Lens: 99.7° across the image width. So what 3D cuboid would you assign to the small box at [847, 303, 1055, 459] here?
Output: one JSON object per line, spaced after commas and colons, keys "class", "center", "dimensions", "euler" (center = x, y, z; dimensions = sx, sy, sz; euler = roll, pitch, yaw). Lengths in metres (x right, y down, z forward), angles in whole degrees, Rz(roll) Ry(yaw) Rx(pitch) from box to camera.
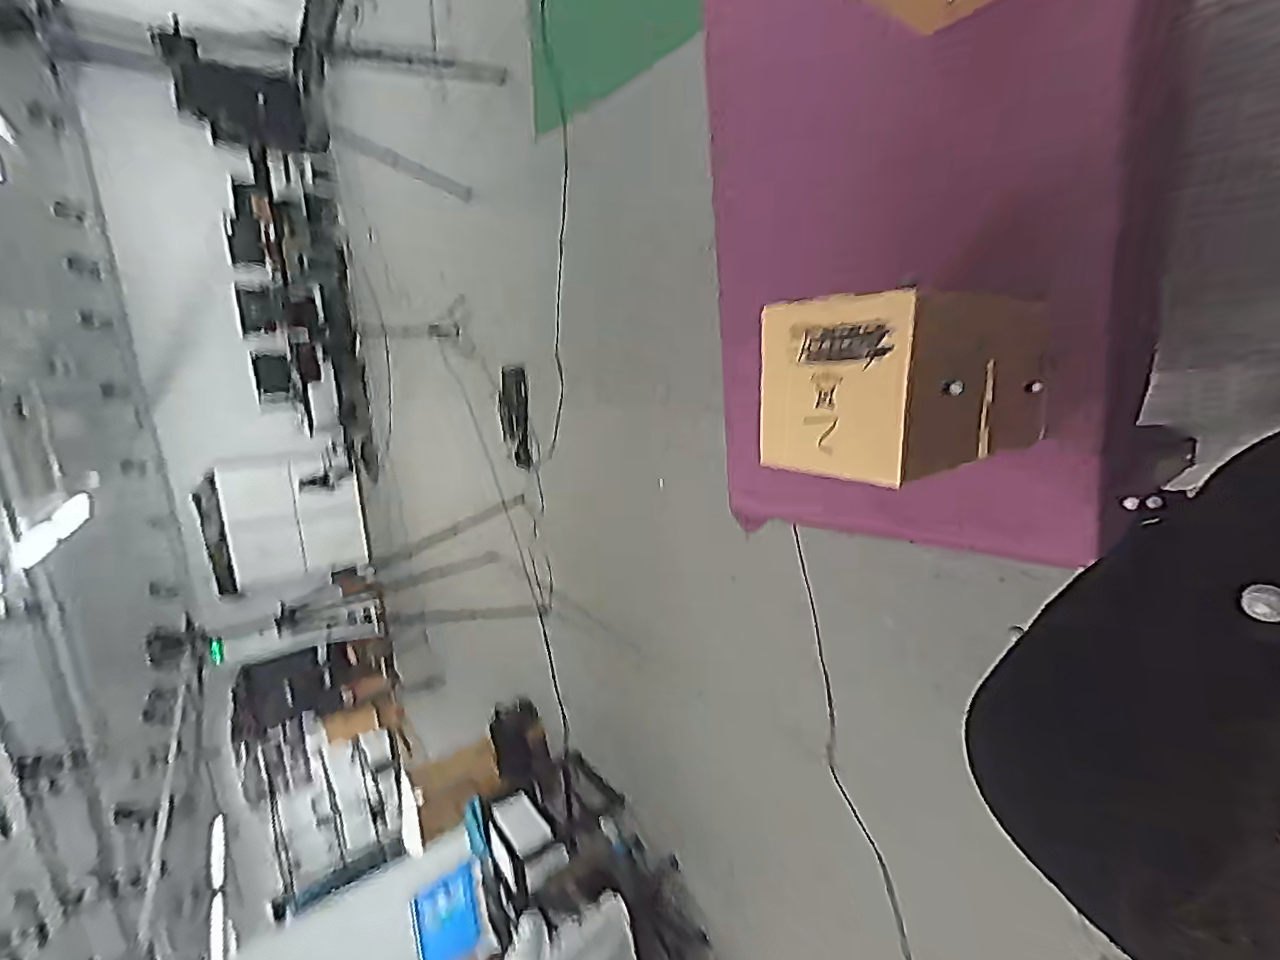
{"class": "small box", "center": [0.386, -0.123, 0.683], "dimensions": [0.179, 0.176, 0.168], "euler": [8, 106, 52]}
